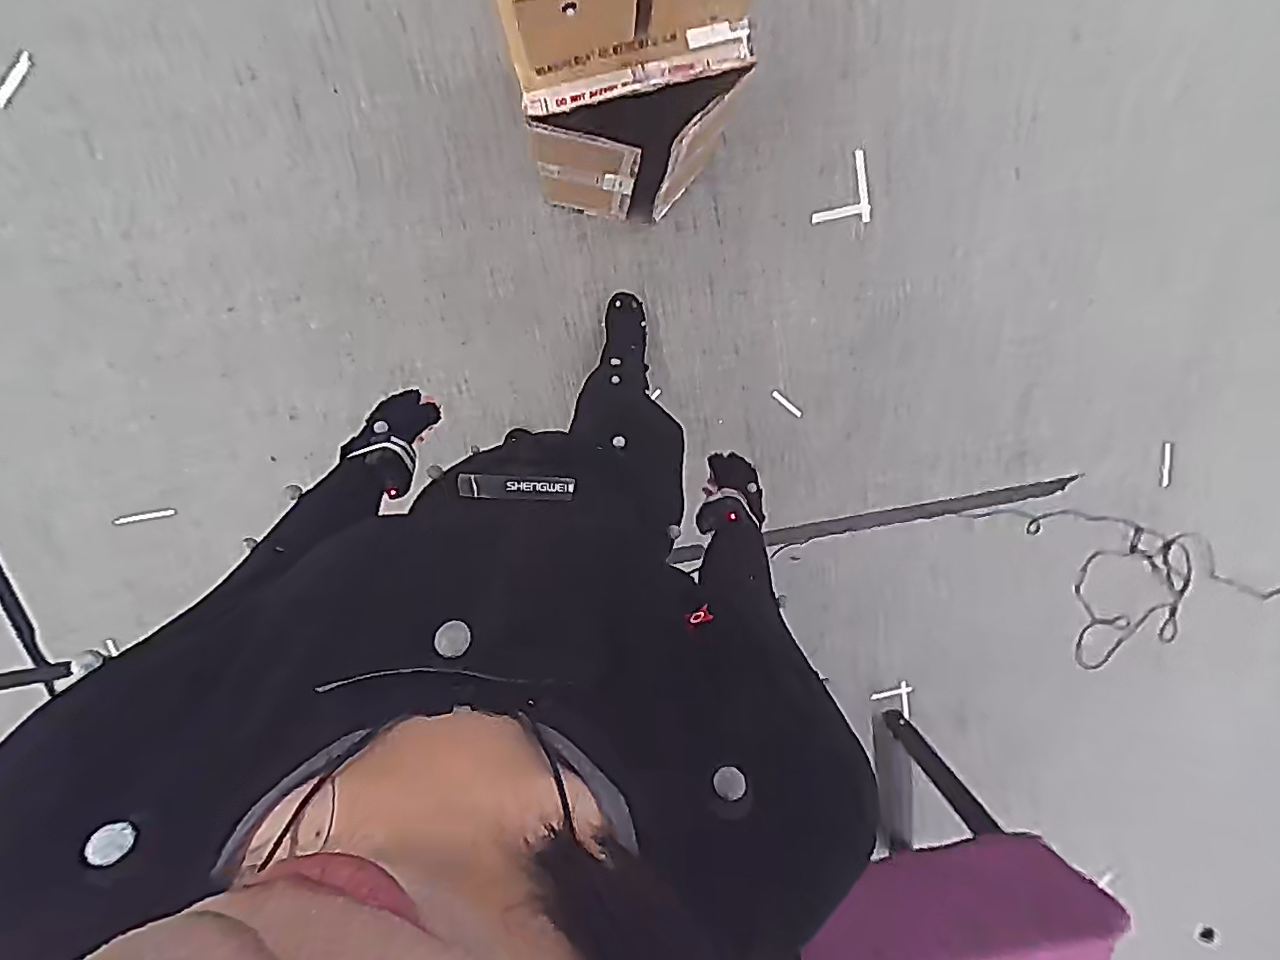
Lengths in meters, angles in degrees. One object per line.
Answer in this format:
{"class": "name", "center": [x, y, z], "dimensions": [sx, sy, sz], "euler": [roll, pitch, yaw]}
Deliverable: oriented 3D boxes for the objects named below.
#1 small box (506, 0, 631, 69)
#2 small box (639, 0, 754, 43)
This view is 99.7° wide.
{"class": "small box", "center": [-0.112, -0.727, 0.762], "dimensions": [0.179, 0.176, 0.168], "euler": [-17, 102, 0]}
{"class": "small box", "center": [0.079, -0.780, 0.768], "dimensions": [0.168, 0.176, 0.179], "euler": [-15, 102, -4]}
